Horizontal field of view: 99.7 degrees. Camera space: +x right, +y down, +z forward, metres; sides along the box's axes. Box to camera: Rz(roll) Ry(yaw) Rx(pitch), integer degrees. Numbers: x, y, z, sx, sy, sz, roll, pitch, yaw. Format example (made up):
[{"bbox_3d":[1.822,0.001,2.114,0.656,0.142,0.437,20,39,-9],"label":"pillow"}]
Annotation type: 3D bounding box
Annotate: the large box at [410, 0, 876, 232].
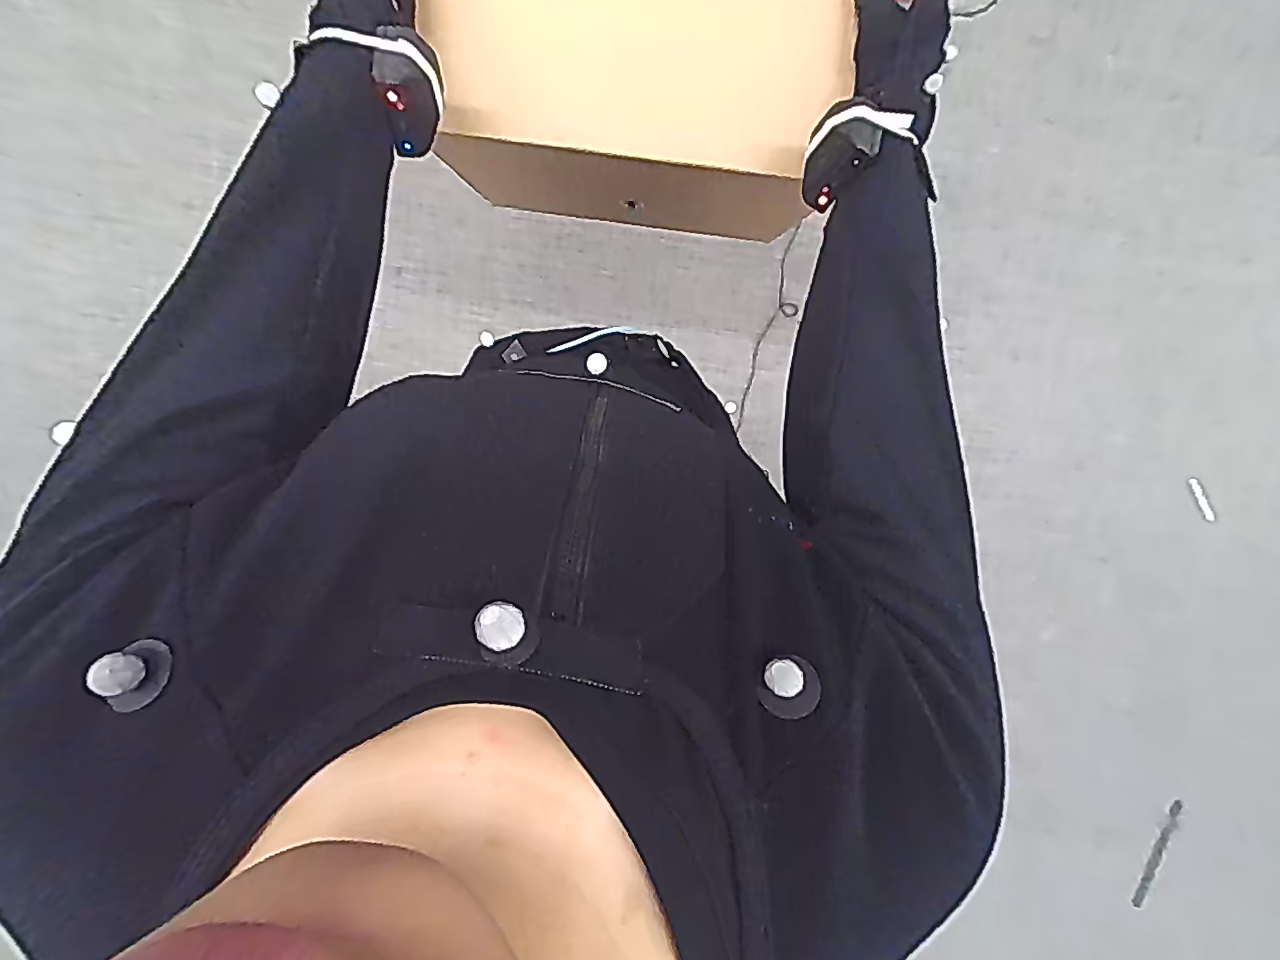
[{"bbox_3d":[0.009,-0.479,0.595,0.408,0.320,0.320,6,104,-2],"label":"large box"}]
